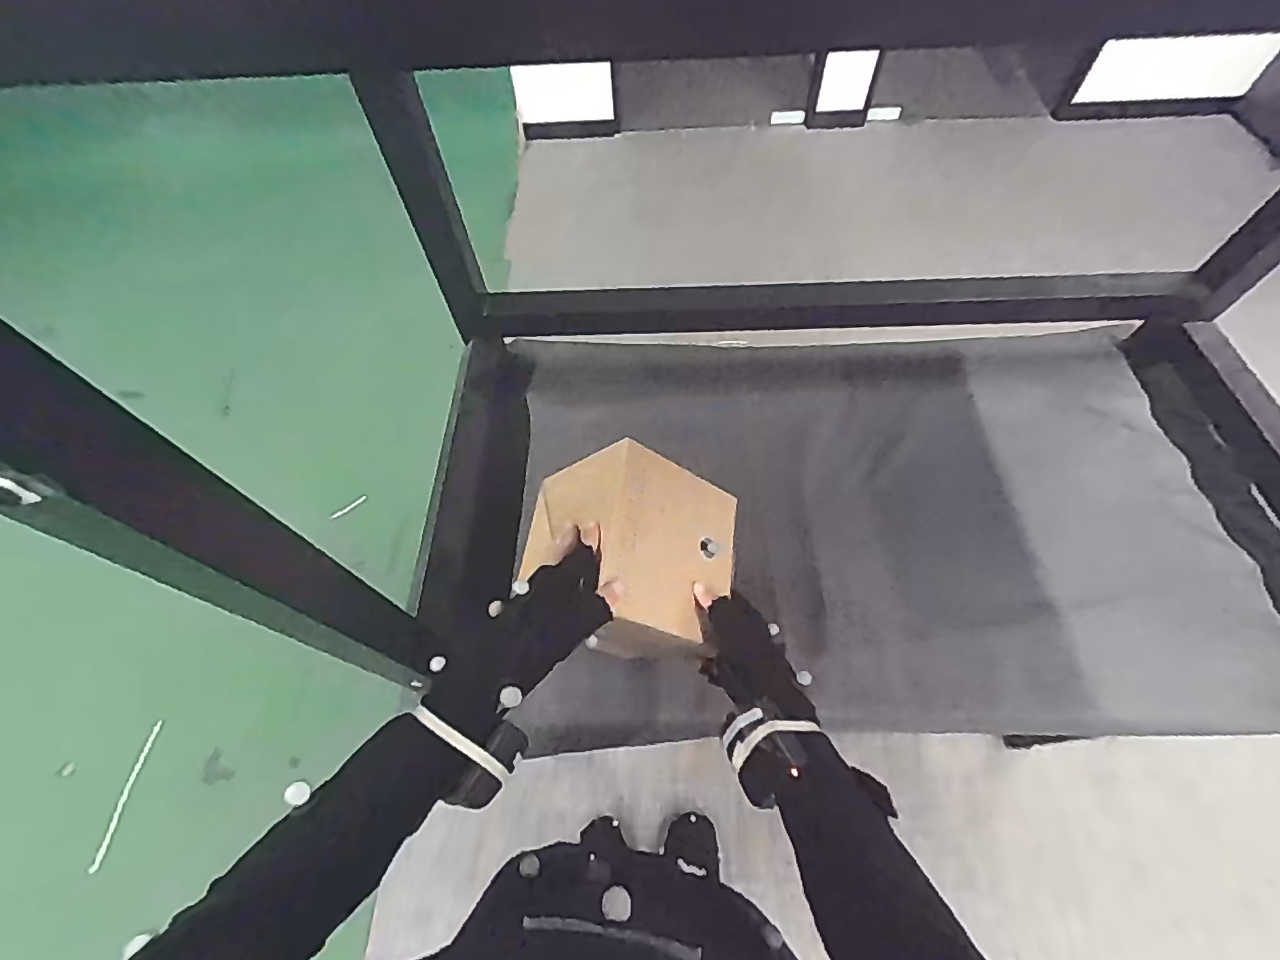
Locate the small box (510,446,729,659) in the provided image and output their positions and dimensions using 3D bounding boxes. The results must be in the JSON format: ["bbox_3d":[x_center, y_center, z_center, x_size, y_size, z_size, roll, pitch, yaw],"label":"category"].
[{"bbox_3d":[-0.020,0.087,0.599,0.176,0.168,0.179,29,55,-32],"label":"small box"}]
